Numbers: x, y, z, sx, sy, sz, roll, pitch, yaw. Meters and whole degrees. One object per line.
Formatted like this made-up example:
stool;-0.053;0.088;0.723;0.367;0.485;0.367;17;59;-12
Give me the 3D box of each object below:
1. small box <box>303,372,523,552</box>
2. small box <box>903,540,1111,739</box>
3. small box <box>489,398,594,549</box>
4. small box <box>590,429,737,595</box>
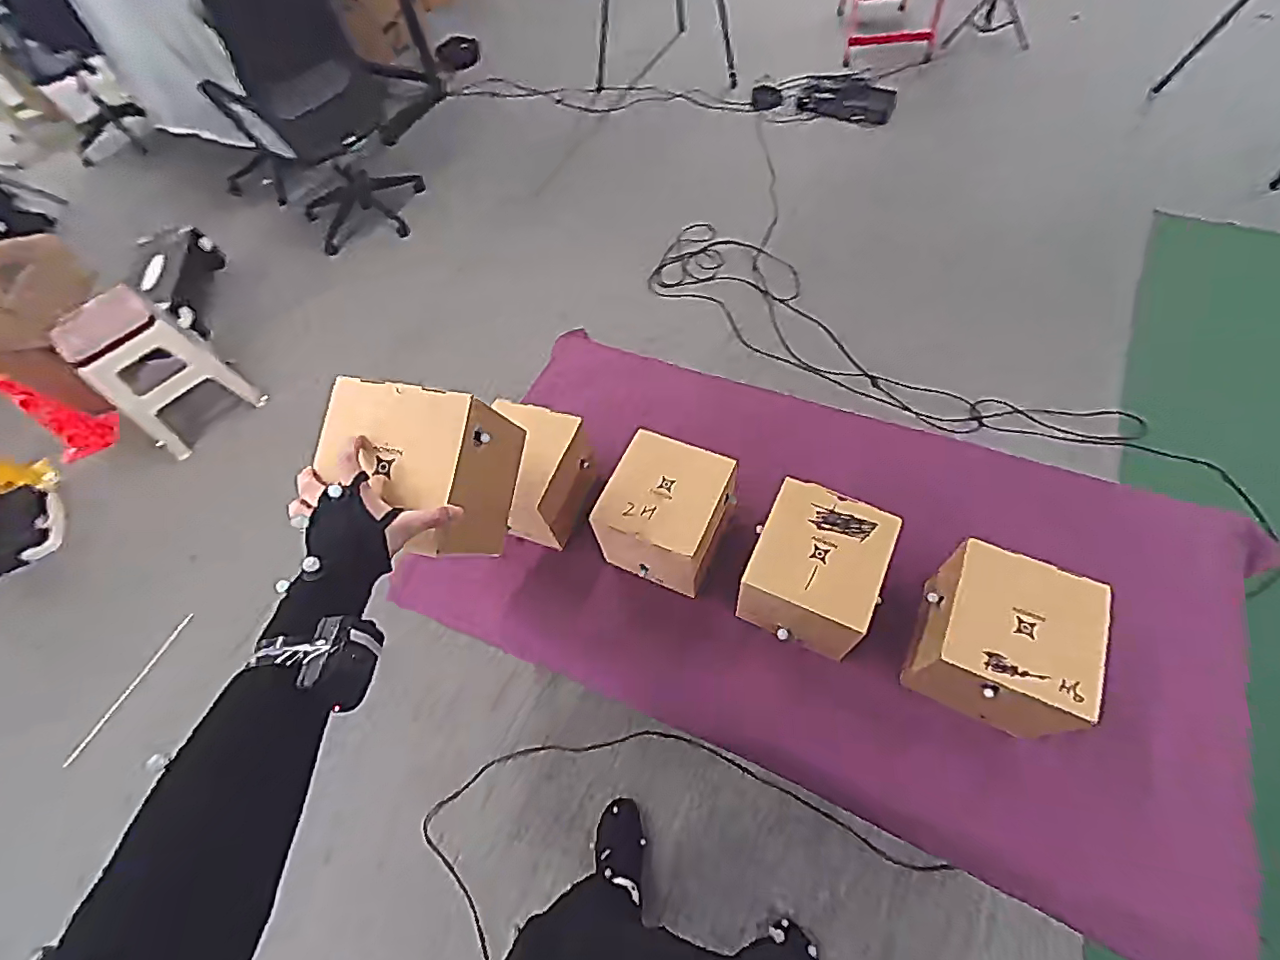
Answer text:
small box;-0.258;-0.012;0.657;0.168;0.176;0.179;9;82;10
small box;0.471;0.214;0.714;0.168;0.176;0.179;21;64;19
small box;-0.190;-0.009;0.928;0.168;0.176;0.179;15;63;16
small box;0.042;0.055;0.861;0.168;0.176;0.179;21;65;18
